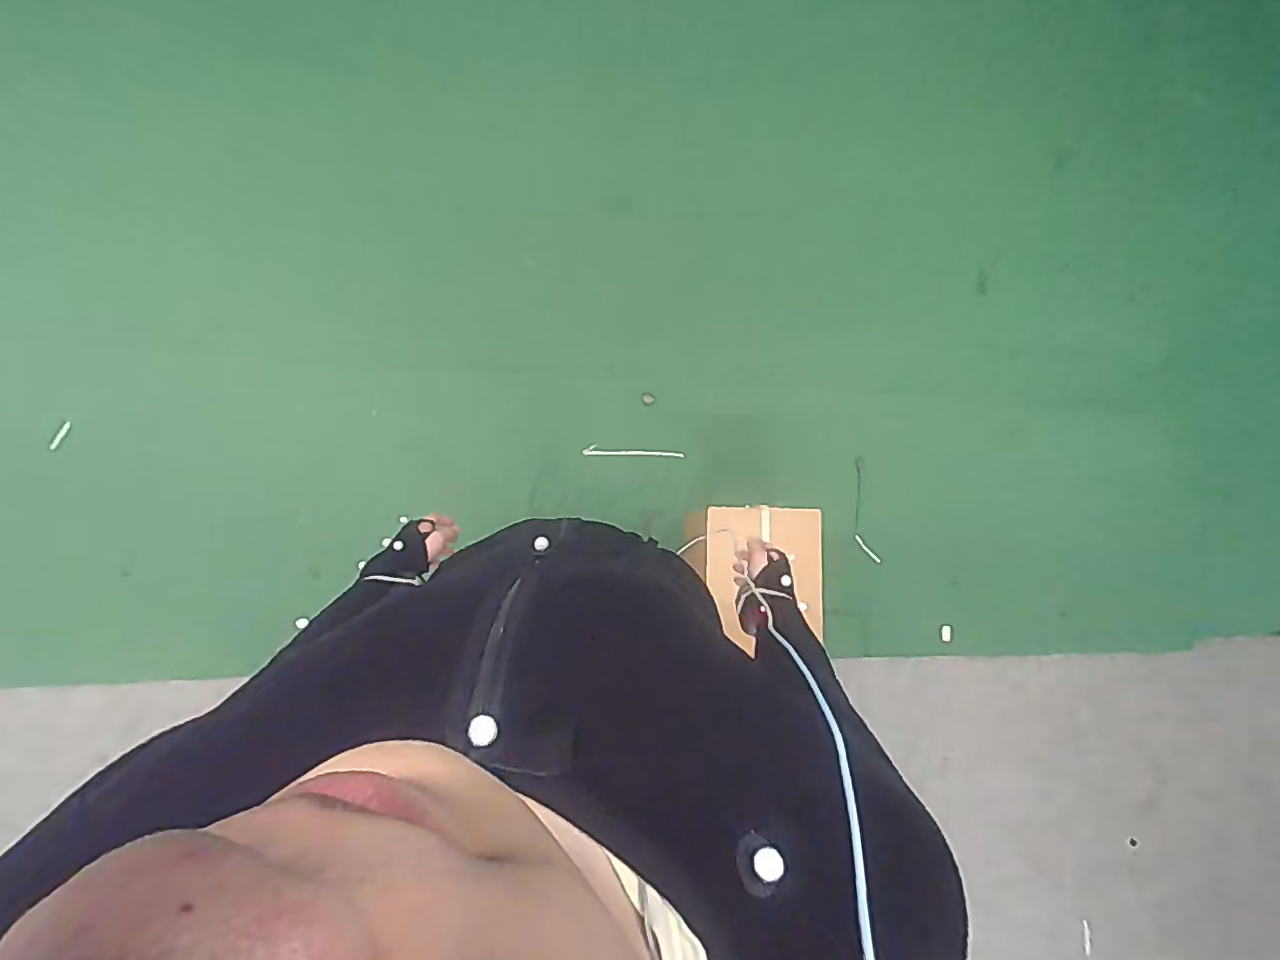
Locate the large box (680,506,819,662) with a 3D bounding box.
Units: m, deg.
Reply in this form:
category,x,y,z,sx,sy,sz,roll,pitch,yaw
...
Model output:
category,x,y,z,sx,sy,sz,roll,pitch,yaw
large box,0.296,0.279,1.554,0.320,0.320,0.408,2,85,-7
